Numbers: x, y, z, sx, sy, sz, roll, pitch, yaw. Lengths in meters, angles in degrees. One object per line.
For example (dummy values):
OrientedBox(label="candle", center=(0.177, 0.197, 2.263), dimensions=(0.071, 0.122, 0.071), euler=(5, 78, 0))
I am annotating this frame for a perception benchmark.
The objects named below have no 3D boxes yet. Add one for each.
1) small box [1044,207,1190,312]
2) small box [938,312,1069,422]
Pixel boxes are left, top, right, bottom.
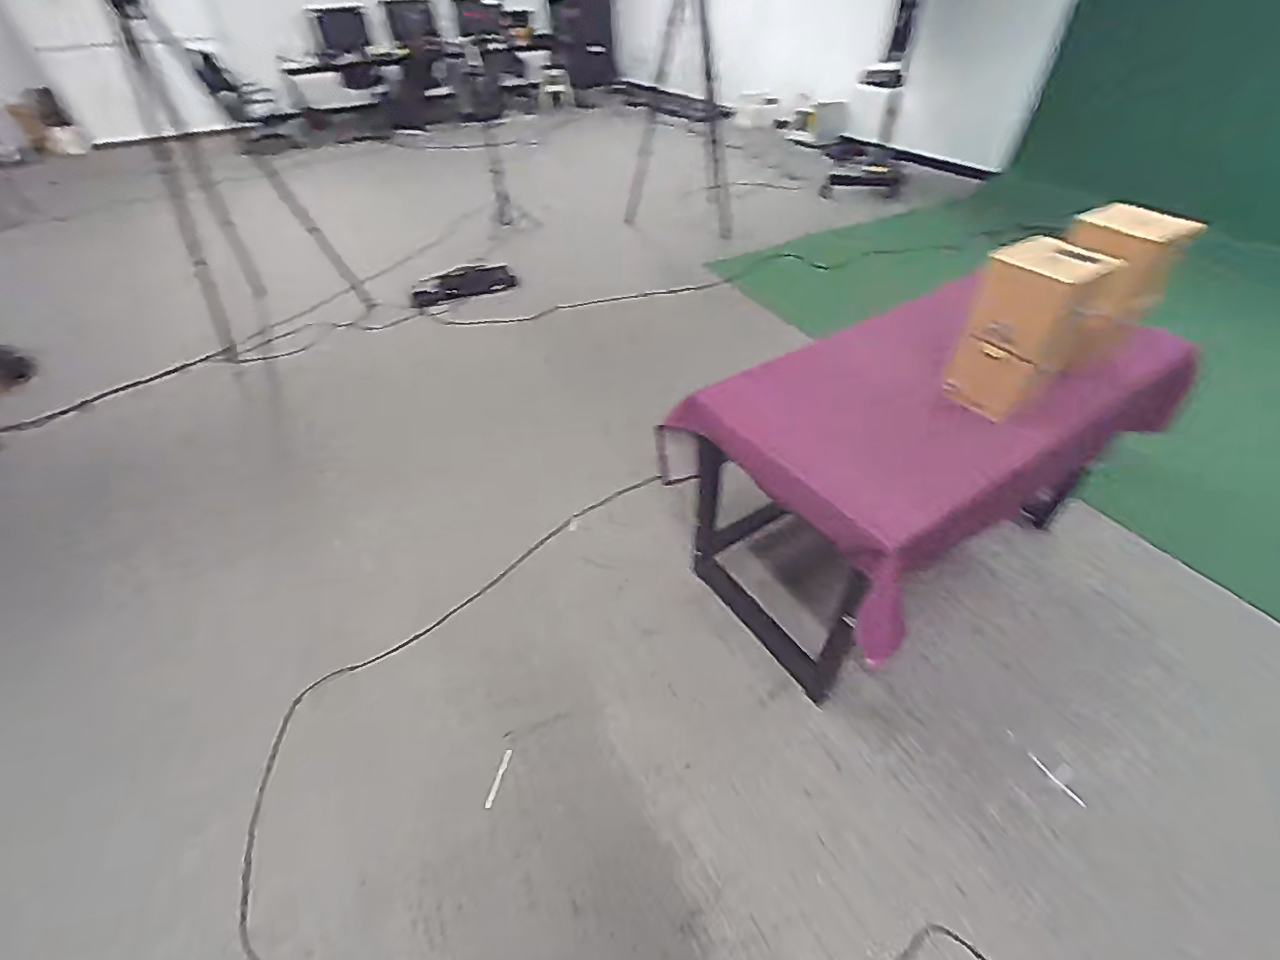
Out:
OrientedBox(label="small box", center=(1.096, -0.512, 1.262), dimensions=(0.179, 0.176, 0.168), euler=(-22, 48, -20))
OrientedBox(label="small box", center=(0.822, -0.259, 1.245), dimensions=(0.179, 0.176, 0.168), euler=(-25, 48, -22))
